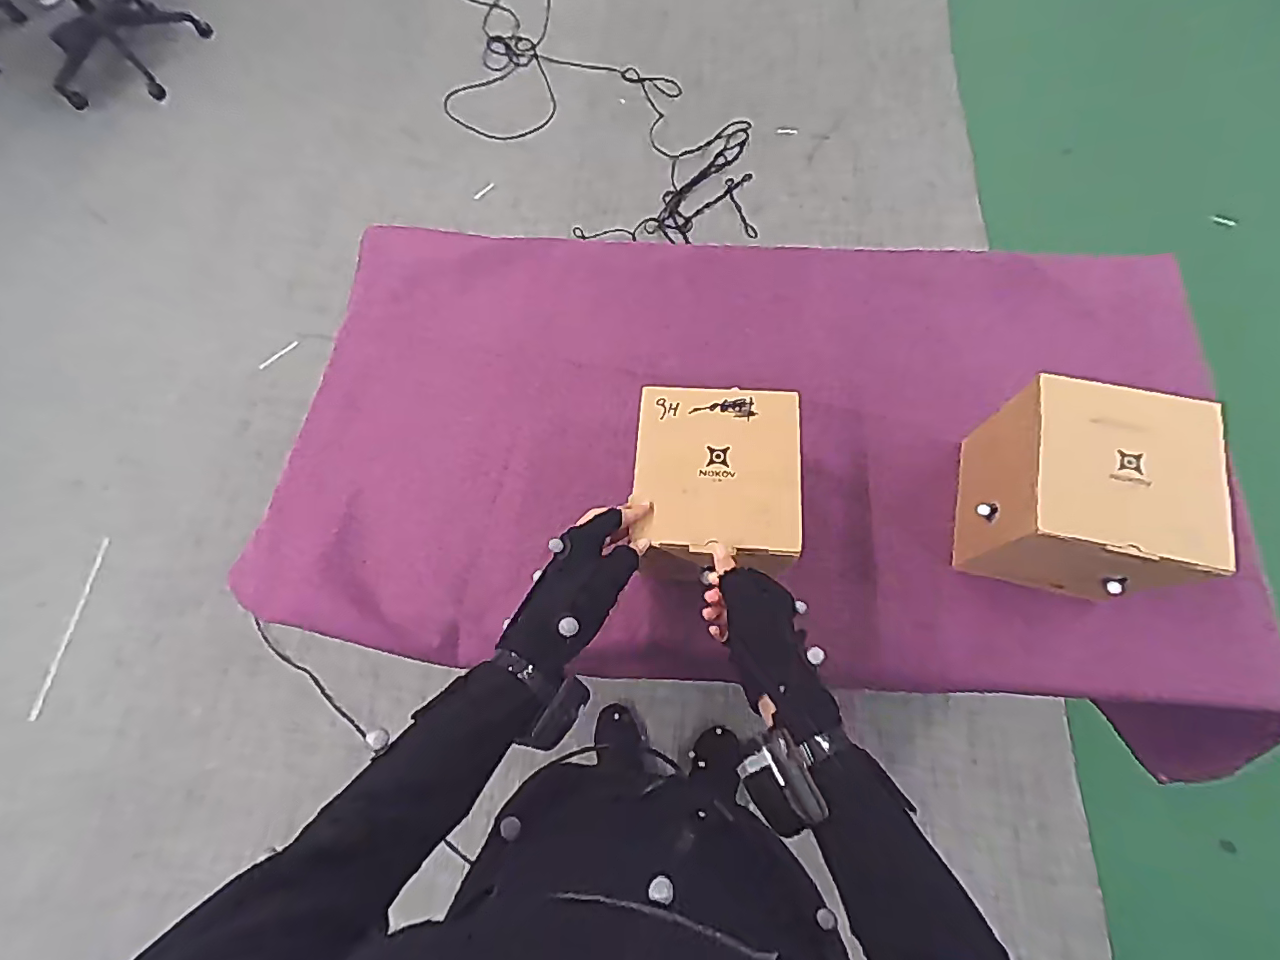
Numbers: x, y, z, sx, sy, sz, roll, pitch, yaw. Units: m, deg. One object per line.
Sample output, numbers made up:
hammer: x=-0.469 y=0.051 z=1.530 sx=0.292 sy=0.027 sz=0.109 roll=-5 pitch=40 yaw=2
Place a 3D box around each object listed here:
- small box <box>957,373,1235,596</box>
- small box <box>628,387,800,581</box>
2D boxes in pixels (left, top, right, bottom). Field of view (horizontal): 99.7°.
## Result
small box: x=0.468 y=0.015 z=0.584 sx=0.168 sy=0.176 sz=0.179 roll=13 pitch=70 yaw=9
small box: x=0.083 y=0.014 z=0.615 sx=0.168 sy=0.176 sz=0.179 roll=3 pitch=70 yaw=6
